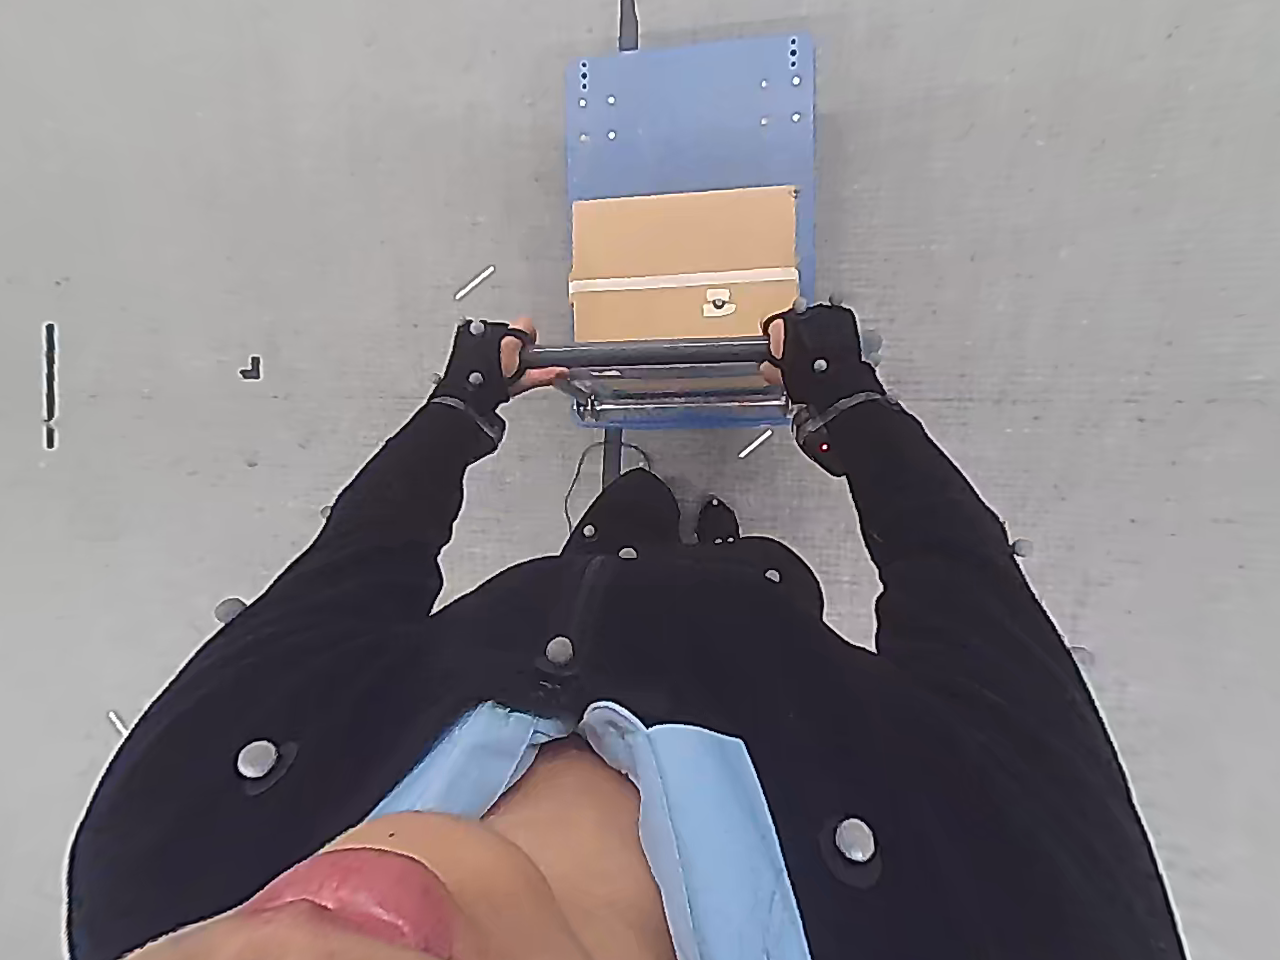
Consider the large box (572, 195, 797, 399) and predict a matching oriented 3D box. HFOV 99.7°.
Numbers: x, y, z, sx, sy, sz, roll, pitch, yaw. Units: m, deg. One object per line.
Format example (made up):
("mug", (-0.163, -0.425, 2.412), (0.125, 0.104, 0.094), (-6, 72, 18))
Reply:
("large box", (0.091, -0.346, 1.118), (0.408, 0.320, 0.320), (-1, 93, 7))
